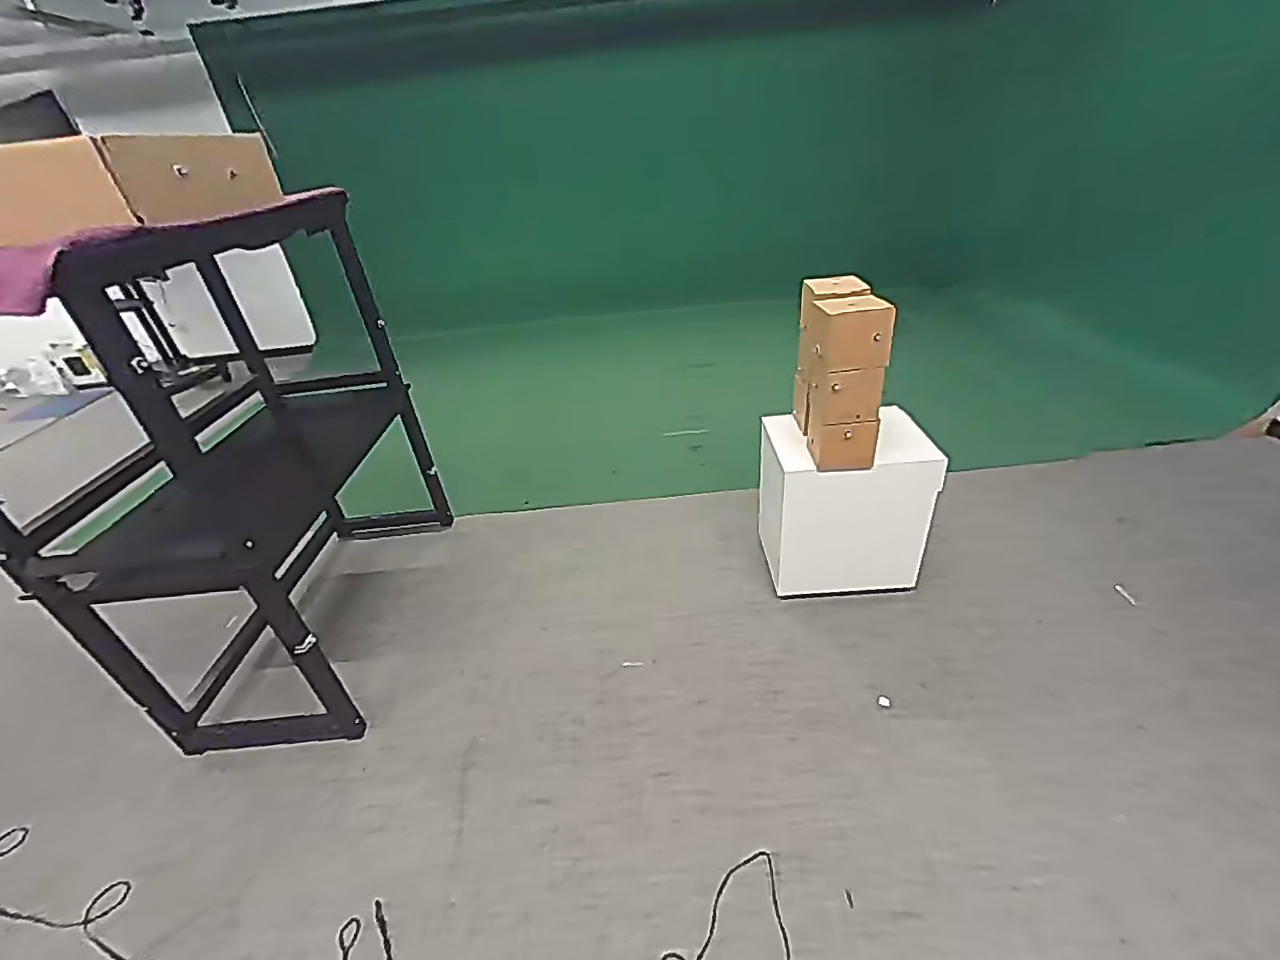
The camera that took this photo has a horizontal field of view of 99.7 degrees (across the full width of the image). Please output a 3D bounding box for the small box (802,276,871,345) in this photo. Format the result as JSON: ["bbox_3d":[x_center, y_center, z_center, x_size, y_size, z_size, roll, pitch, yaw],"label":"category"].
[{"bbox_3d":[0.625,-0.540,1.736,0.168,0.176,0.179,-3,35,4],"label":"small box"}]

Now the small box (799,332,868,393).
[{"bbox_3d":[0.648,-0.407,1.830,0.179,0.176,0.168,-4,34,4],"label":"small box"}]

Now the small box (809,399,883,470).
[{"bbox_3d":[0.651,-0.146,1.731,0.179,0.176,0.168,-4,32,5],"label":"small box"}]
